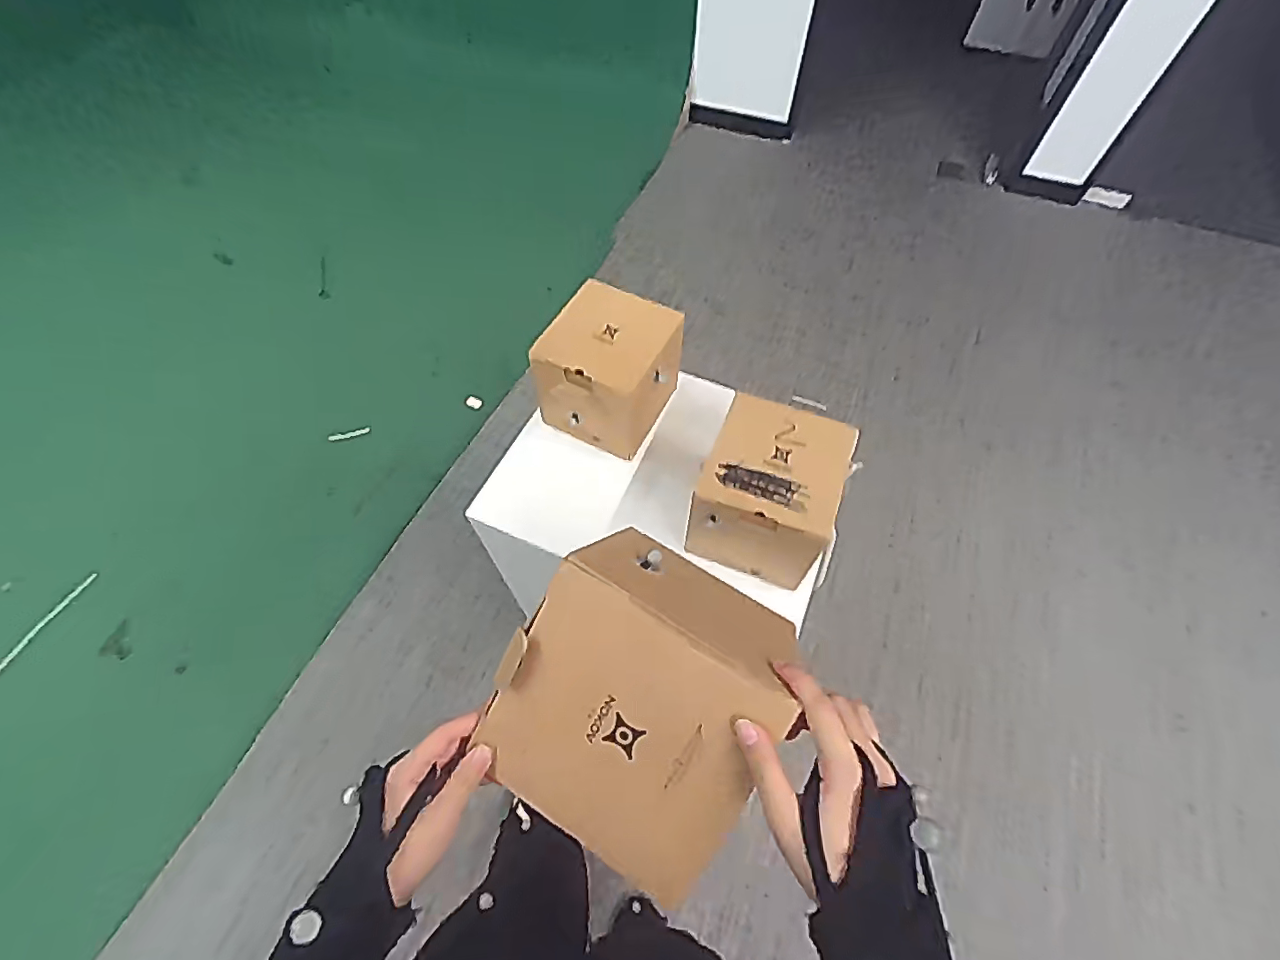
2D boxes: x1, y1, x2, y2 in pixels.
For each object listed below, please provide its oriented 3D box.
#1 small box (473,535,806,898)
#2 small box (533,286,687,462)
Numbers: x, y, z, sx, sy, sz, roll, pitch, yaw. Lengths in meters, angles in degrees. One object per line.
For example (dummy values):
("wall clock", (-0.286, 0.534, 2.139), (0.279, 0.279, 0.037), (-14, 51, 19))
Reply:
("small box", (0.010, 0.156, 0.429), (0.179, 0.176, 0.168), (28, 99, 11))
("small box", (-0.044, -0.161, 0.844), (0.168, 0.176, 0.179), (24, 63, 12))
